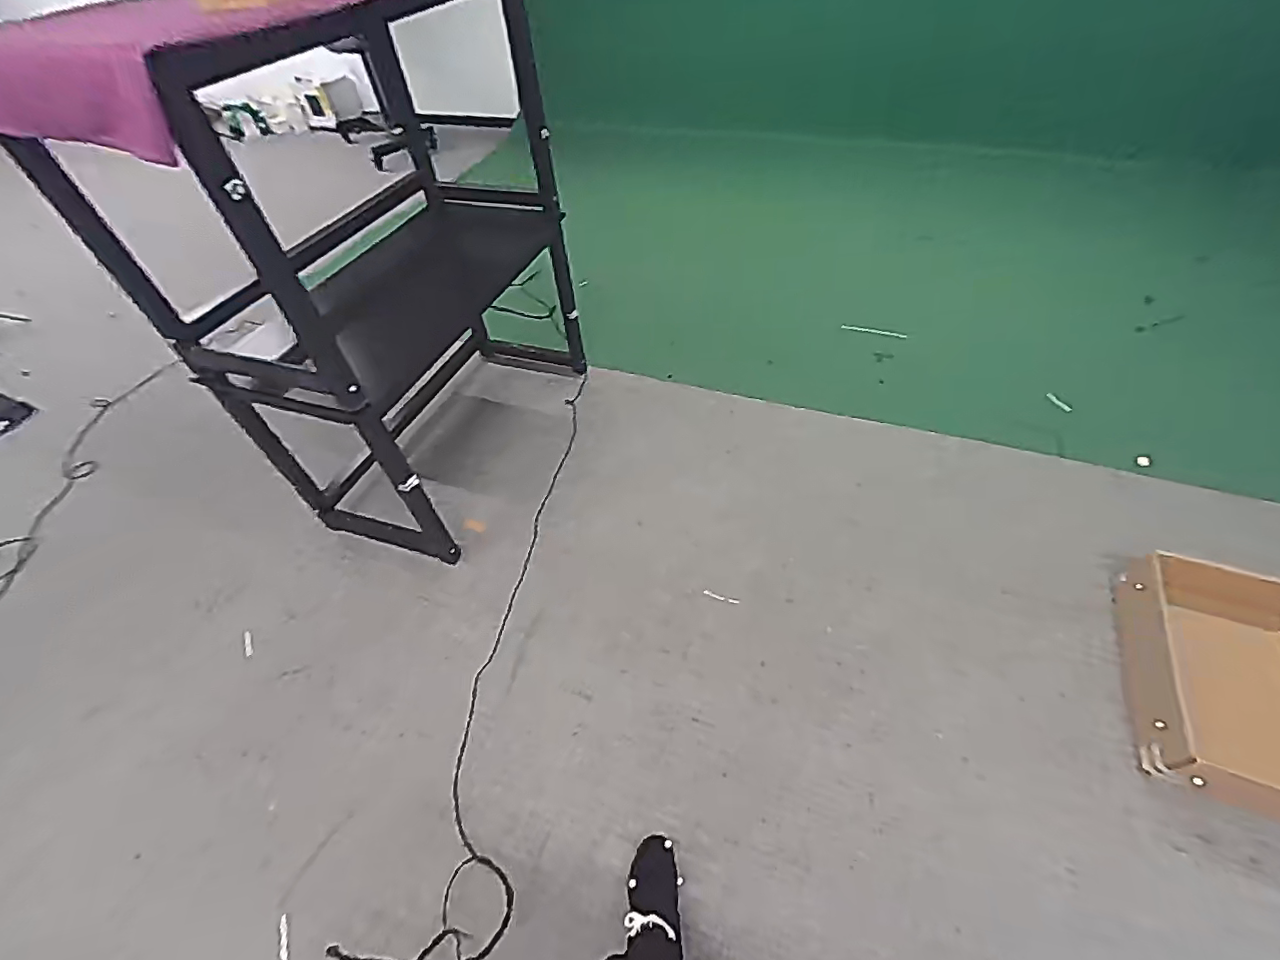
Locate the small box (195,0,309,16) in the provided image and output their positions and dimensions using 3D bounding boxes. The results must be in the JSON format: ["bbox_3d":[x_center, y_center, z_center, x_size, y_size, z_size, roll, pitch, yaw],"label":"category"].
[{"bbox_3d":[-0.756,-0.990,1.010,0.168,0.176,0.179,10,50,14],"label":"small box"}]
